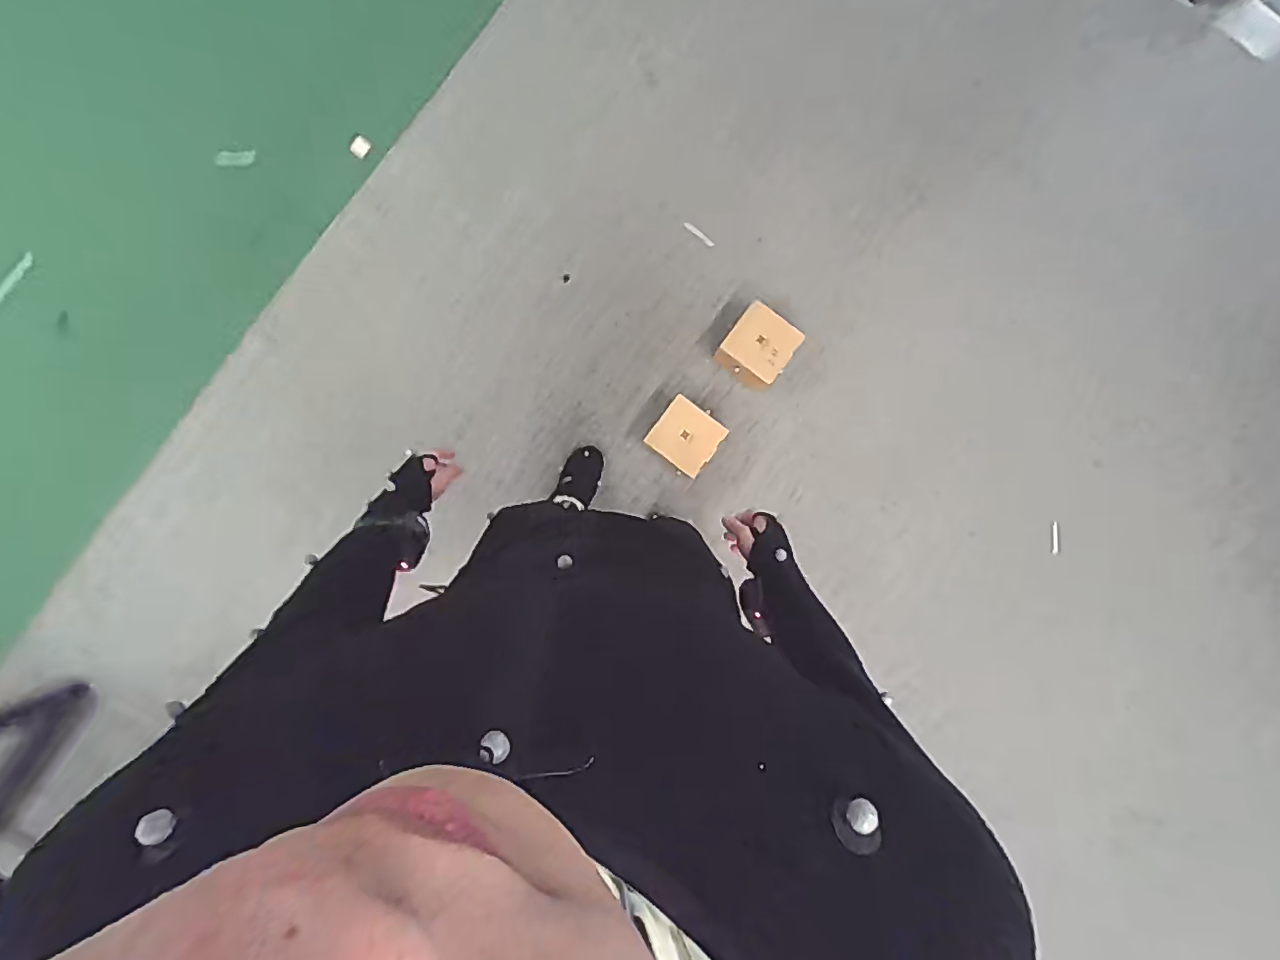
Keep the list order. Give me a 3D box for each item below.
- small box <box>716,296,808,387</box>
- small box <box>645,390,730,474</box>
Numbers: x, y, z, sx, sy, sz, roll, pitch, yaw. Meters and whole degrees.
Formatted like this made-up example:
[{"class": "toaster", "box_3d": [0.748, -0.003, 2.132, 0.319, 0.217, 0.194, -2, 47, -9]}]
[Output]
[{"class": "small box", "box_3d": [0.335, -0.380, 1.528, 0.179, 0.176, 0.168, 38, 92, -2]}, {"class": "small box", "box_3d": [0.127, -0.130, 1.538, 0.179, 0.176, 0.168, 38, 91, -2]}]
